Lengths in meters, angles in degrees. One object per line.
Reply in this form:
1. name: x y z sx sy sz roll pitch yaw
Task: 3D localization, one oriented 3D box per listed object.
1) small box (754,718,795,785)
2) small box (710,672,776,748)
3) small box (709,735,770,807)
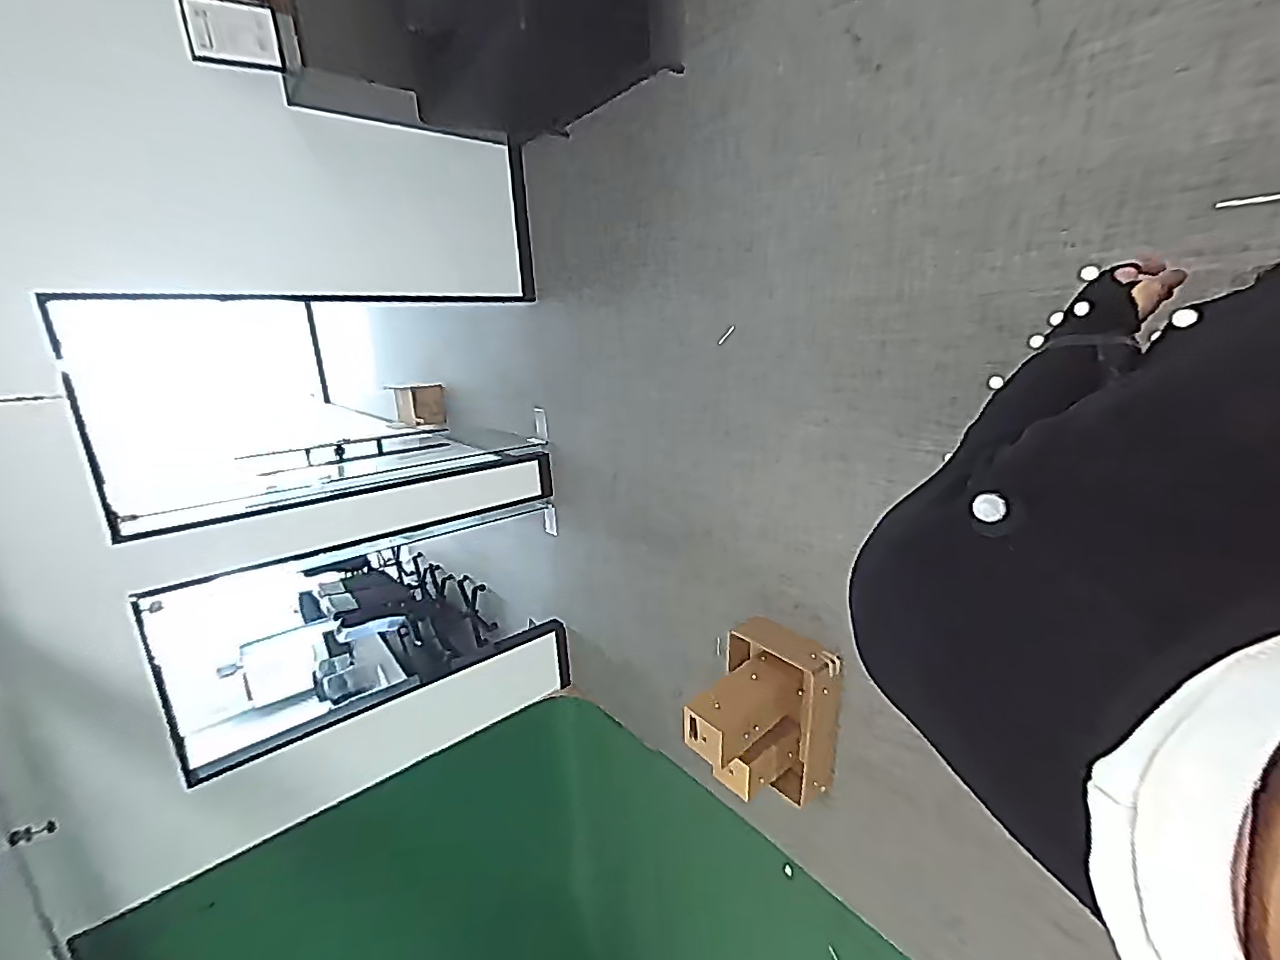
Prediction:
1. small box: 0.506 1.072 2.179 0.179 0.176 0.168 17 113 48
2. small box: 0.381 0.842 2.006 0.179 0.176 0.168 17 115 48
3. small box: 0.383 1.096 2.078 0.179 0.176 0.168 15 112 49
